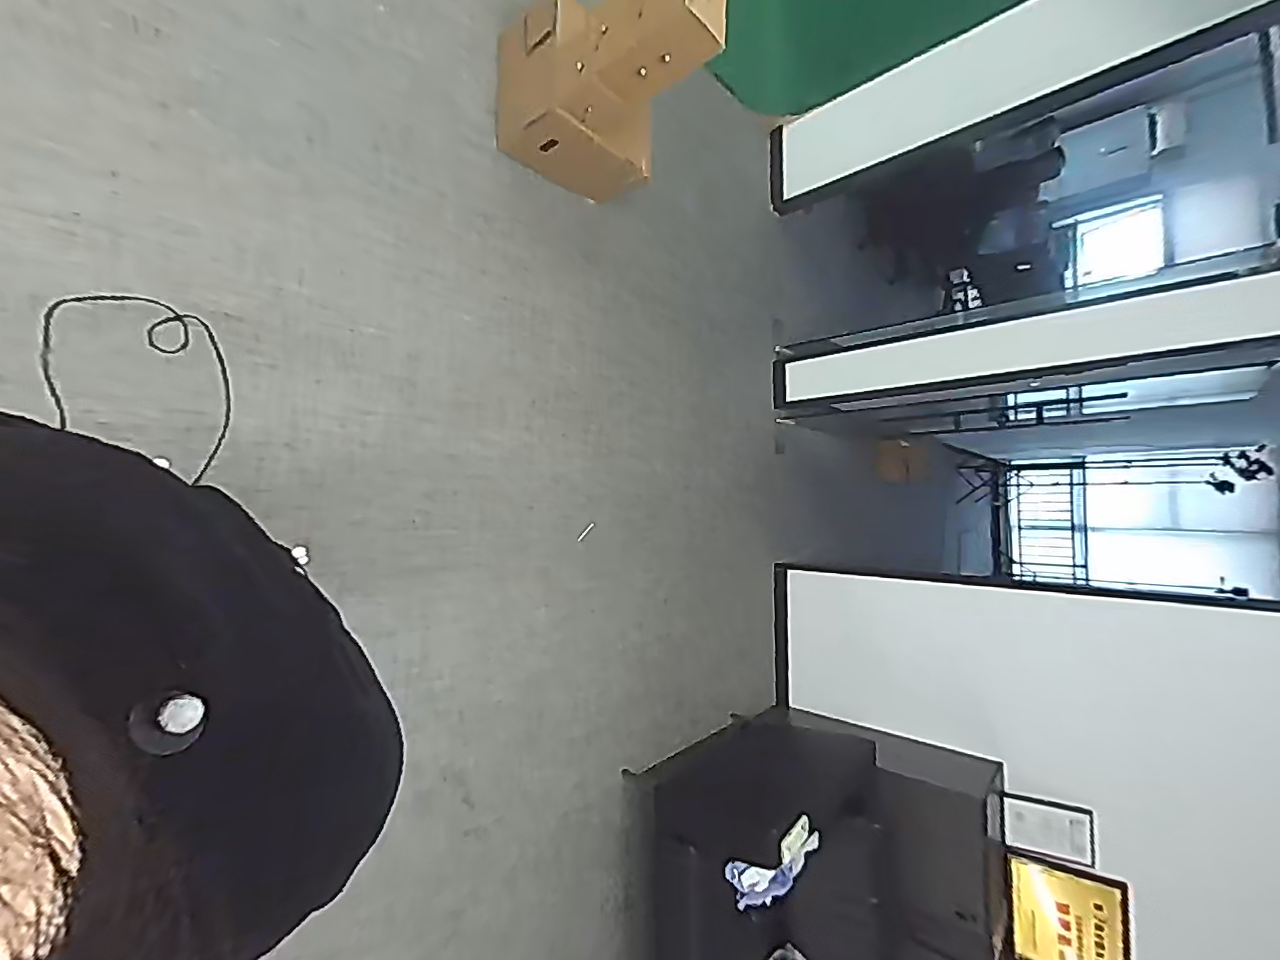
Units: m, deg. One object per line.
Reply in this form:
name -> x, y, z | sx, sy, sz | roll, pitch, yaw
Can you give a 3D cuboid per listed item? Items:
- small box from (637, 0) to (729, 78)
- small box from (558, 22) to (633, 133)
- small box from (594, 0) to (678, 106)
small box -> 0.114, -1.197, 1.405 | 0.179, 0.176, 0.168 | 5, 86, -48
small box -> -0.133, -1.192, 1.621 | 0.168, 0.176, 0.179 | 5, 86, -49
small box -> -0.008, -1.195, 1.516 | 0.179, 0.176, 0.168 | 5, 86, -48
